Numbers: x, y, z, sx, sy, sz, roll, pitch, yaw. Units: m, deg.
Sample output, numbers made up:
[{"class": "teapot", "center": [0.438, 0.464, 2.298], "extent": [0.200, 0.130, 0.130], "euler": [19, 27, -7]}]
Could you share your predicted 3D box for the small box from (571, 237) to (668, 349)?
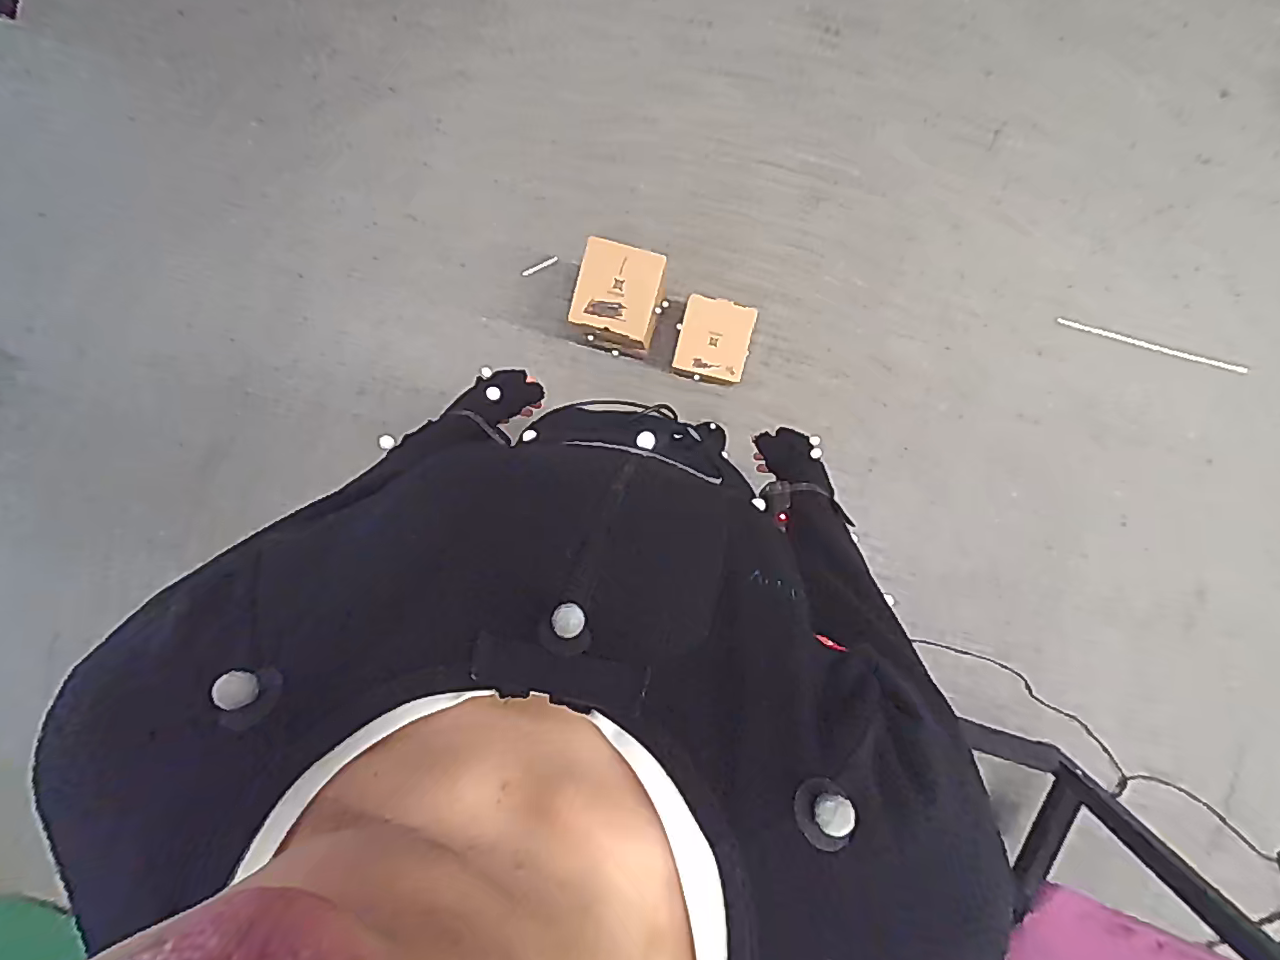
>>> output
[{"class": "small box", "center": [-0.036, -0.393, 1.171], "extent": [0.168, 0.176, 0.179], "euler": [15, 98, 1]}]
